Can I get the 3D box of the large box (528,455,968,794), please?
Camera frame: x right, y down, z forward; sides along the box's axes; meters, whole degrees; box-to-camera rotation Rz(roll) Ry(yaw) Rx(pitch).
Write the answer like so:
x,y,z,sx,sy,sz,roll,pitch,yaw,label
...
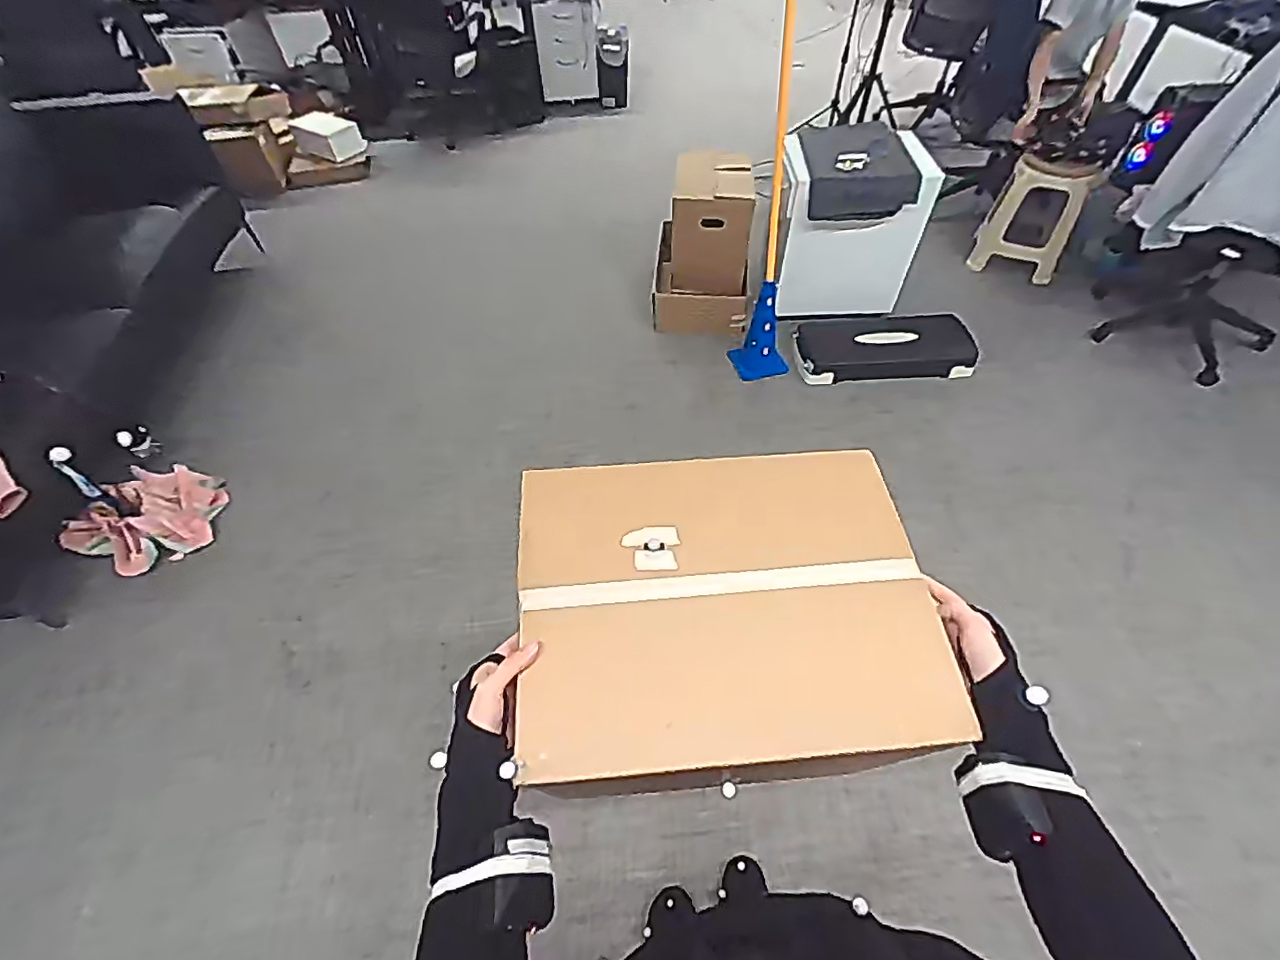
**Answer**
x,y,z,sx,sy,sz,roll,pitch,yaw,label
0.089,0.194,0.680,0.408,0.320,0.320,-5,57,-2,large box
